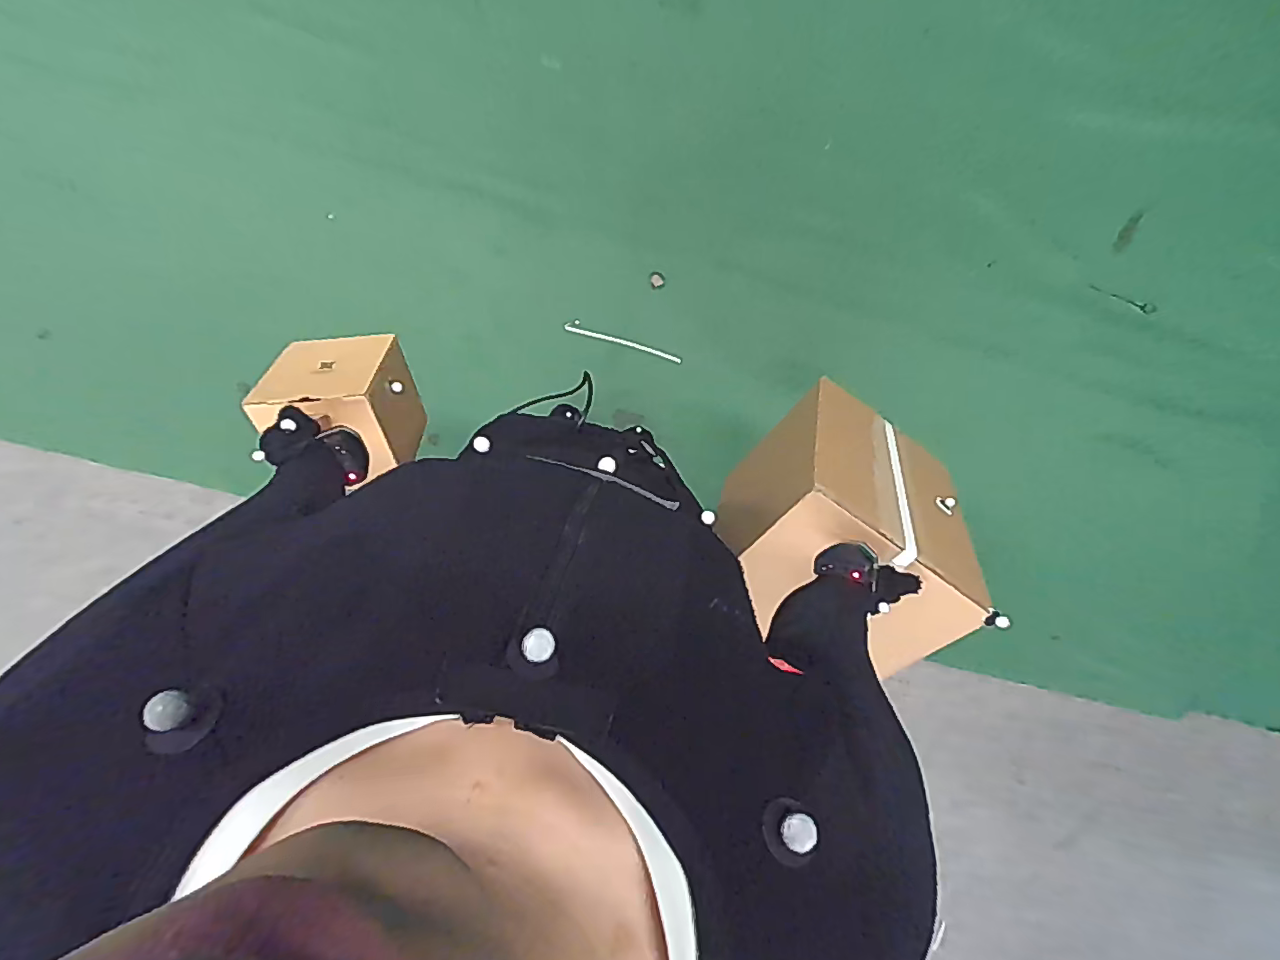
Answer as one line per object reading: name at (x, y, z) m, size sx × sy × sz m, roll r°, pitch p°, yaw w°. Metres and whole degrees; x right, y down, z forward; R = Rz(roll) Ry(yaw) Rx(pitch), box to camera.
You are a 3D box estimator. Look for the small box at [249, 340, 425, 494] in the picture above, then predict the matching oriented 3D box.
small box at (-0.456, -0.100, 0.852) m, size 0.168 × 0.179 × 0.176 m, roll -6°, pitch 133°, yaw -2°
